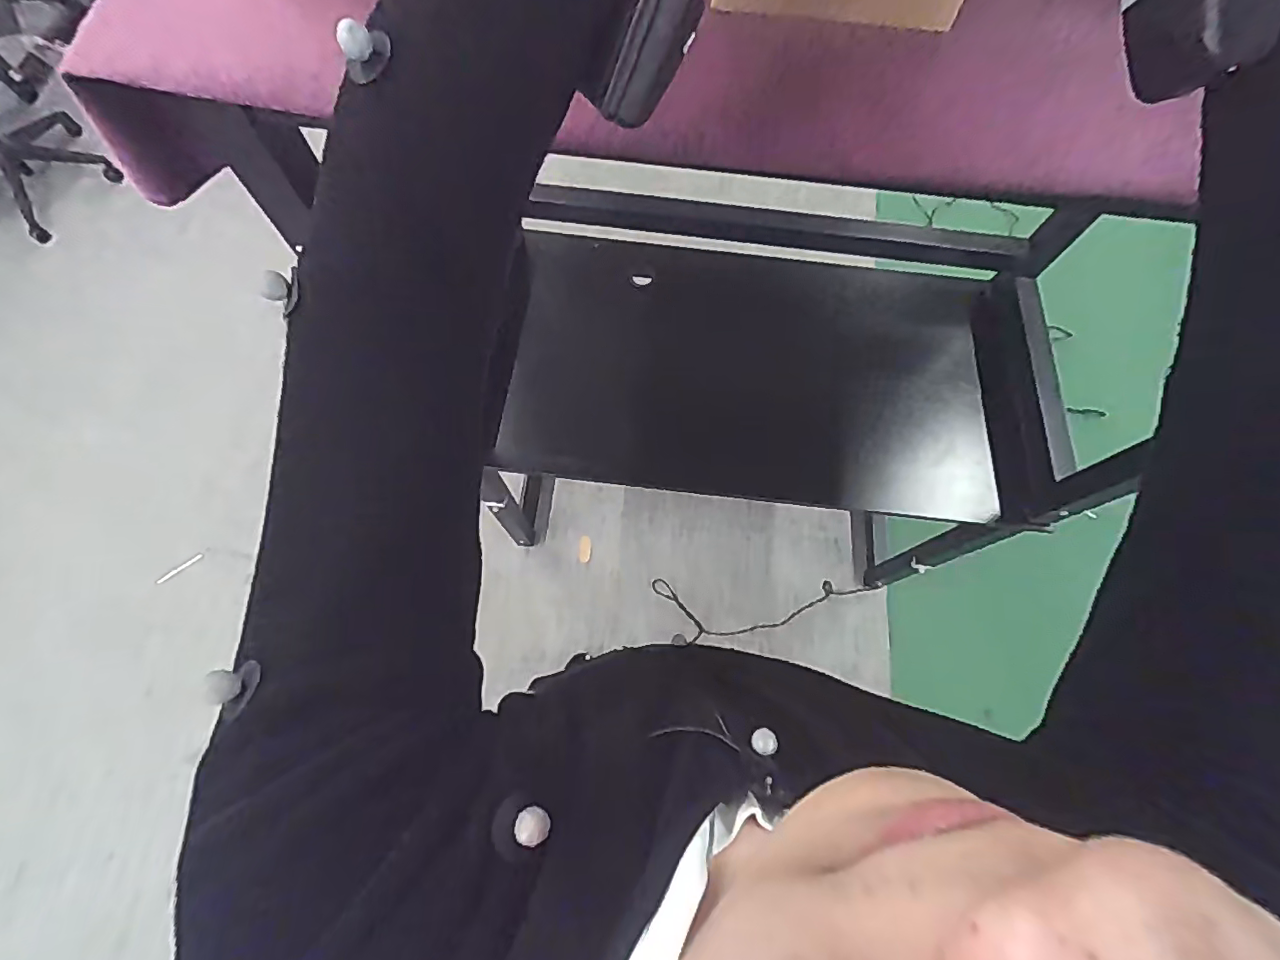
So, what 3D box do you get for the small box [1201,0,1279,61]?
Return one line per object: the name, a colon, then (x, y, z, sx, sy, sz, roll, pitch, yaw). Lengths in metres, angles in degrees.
small box: (0.516, -0.394, 0.341, 0.179, 0.176, 0.168, 6, 66, 1)
